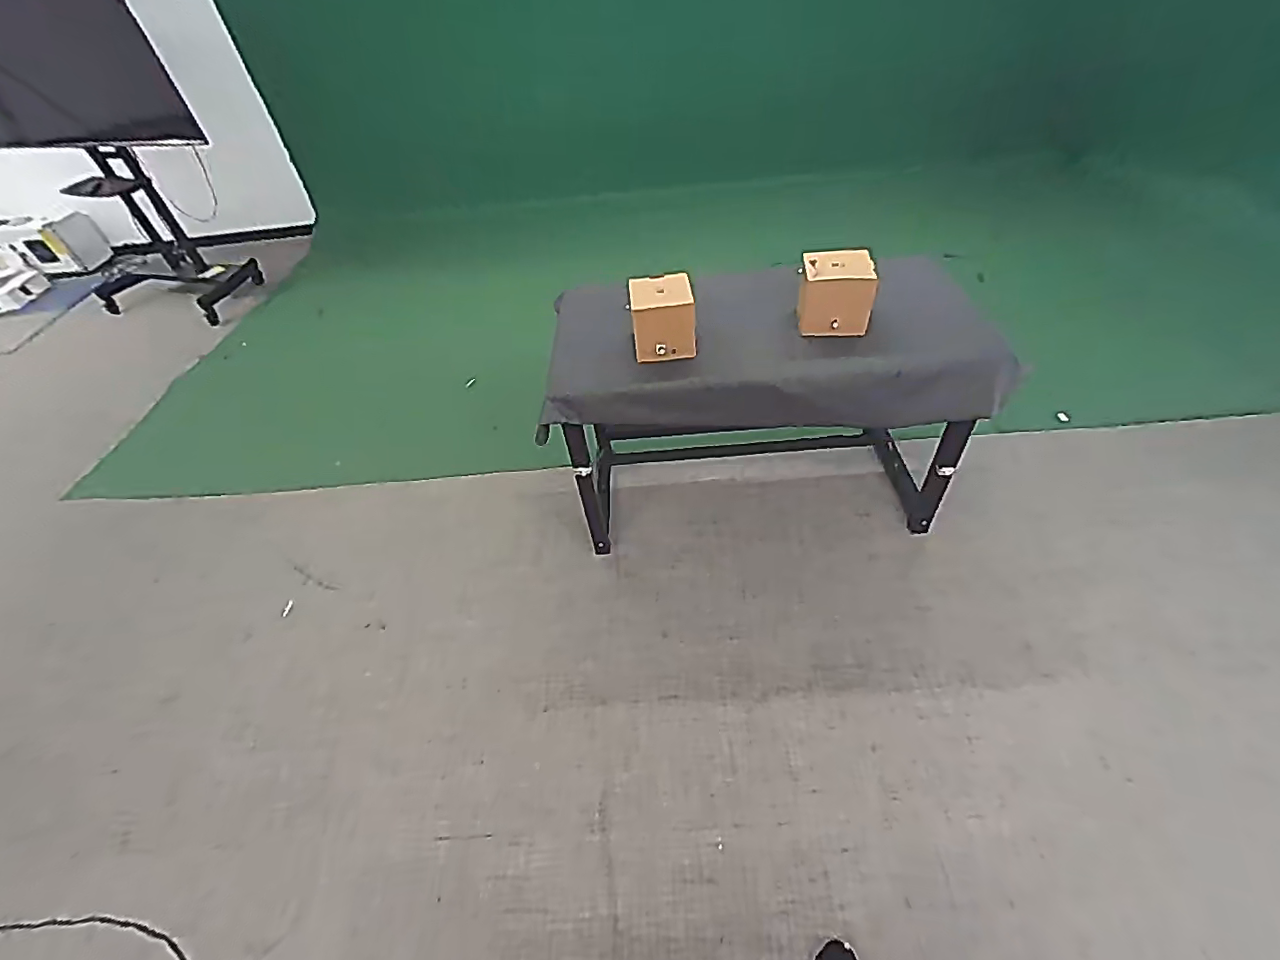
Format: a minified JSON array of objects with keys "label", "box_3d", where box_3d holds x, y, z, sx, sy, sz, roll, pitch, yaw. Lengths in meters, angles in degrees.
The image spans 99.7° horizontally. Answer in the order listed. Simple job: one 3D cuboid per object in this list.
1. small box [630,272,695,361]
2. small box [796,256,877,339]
[{"label":"small box","box_3d":[0.062,-0.452,1.496,0.168,0.176,0.179,-6,45,4]},{"label":"small box","box_3d":[0.542,-0.507,1.511,0.179,0.176,0.168,2,46,9]}]
